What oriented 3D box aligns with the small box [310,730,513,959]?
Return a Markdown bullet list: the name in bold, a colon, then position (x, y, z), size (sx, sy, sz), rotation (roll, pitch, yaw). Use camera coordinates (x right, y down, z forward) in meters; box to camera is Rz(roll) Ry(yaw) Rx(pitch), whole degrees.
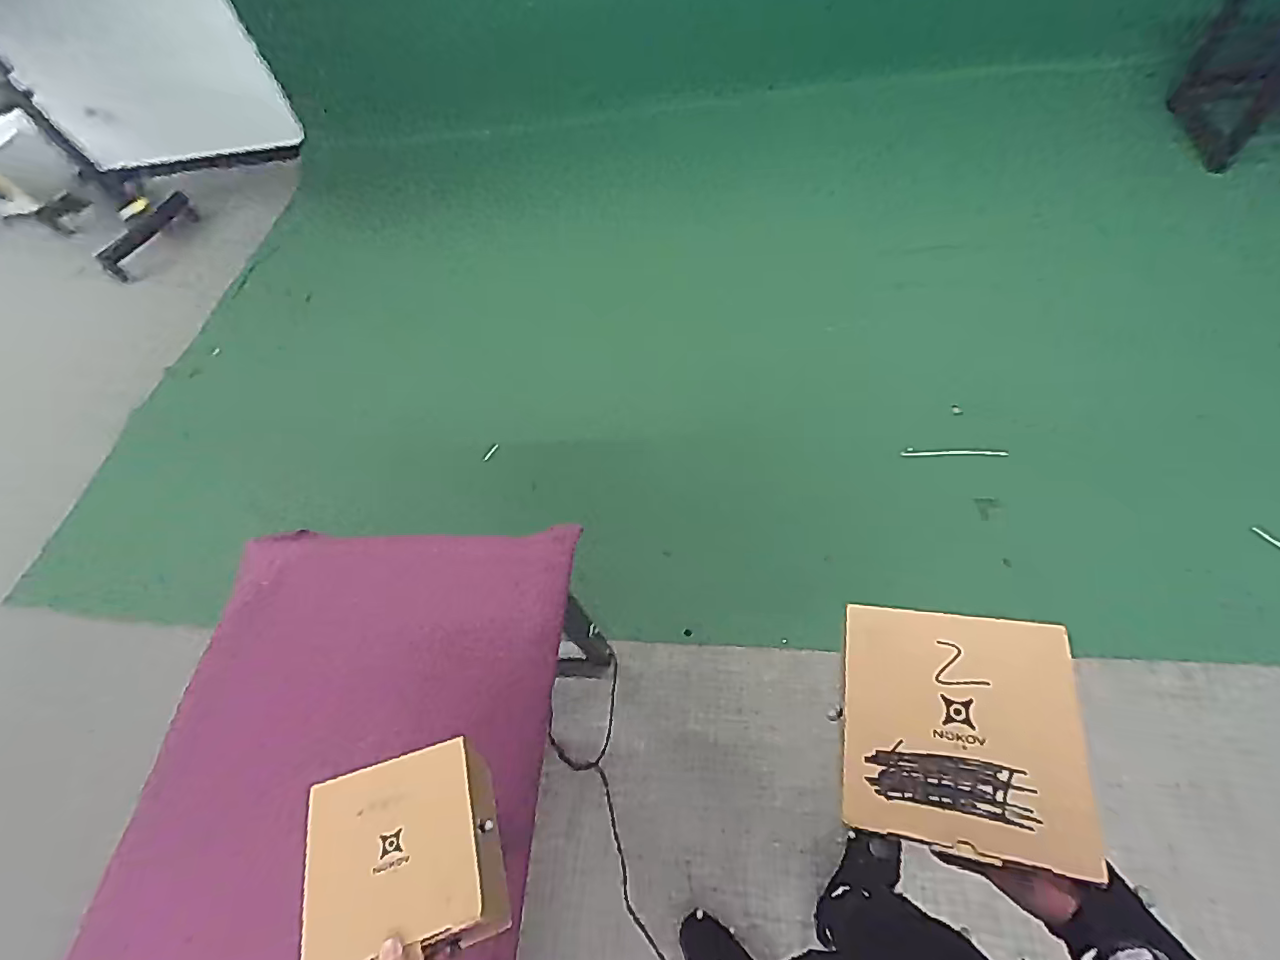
- **small box**: position (-0.250, 0.423, 0.621), size (0.168, 0.176, 0.179), rotation (-13, 50, -13)
